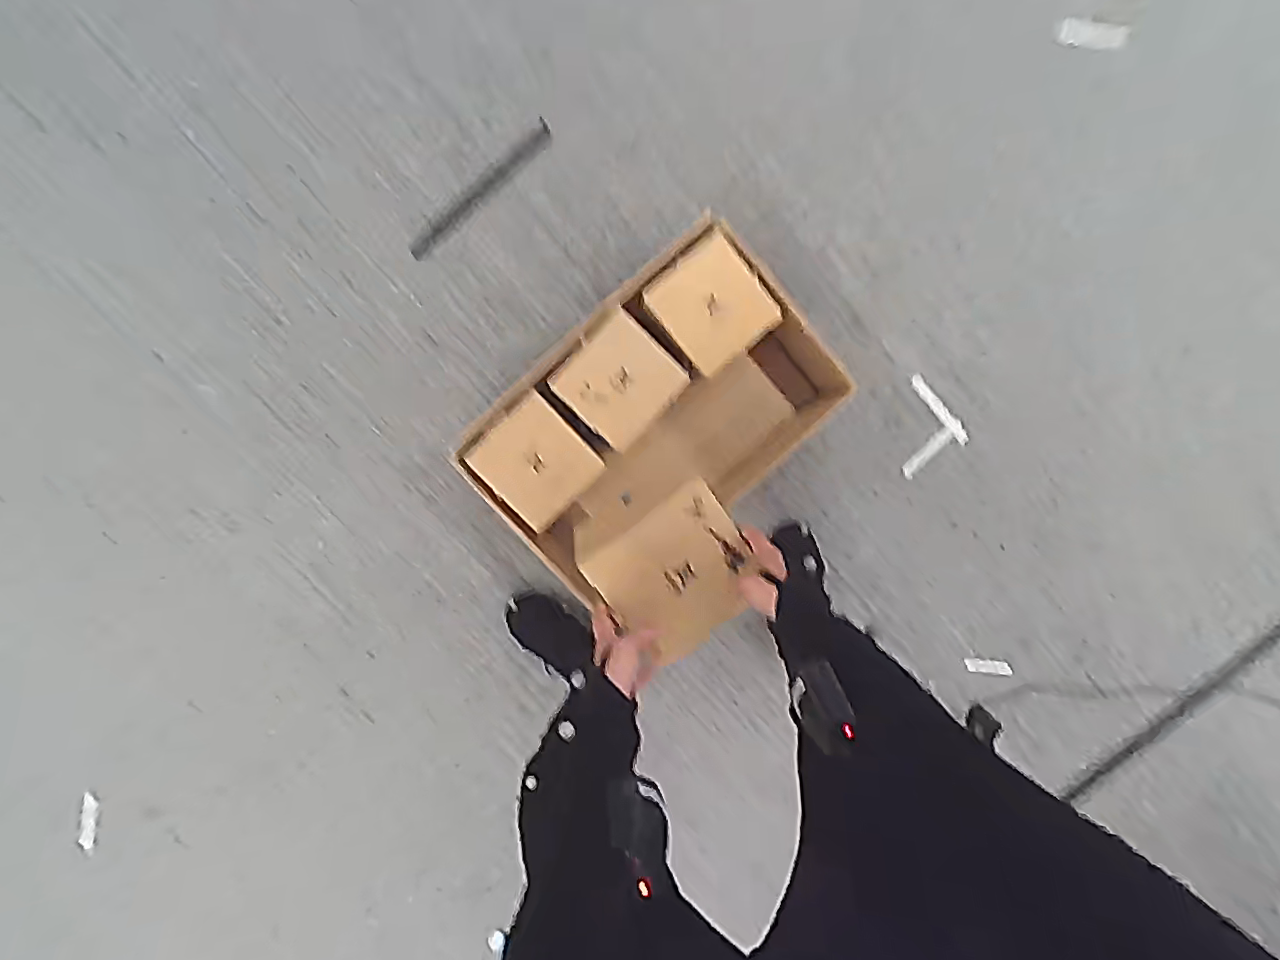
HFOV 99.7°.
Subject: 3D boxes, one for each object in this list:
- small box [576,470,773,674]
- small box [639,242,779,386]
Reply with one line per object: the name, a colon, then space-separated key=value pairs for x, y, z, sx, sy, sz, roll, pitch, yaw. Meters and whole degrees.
small box: x=0.035 y=0.105 z=0.699 sx=0.179 sy=0.176 sz=0.168 roll=-35 pitch=101 yaw=-1
small box: x=0.113 y=-0.284 z=0.974 sx=0.168 sy=0.176 sz=0.179 roll=-41 pitch=99 yaw=3
